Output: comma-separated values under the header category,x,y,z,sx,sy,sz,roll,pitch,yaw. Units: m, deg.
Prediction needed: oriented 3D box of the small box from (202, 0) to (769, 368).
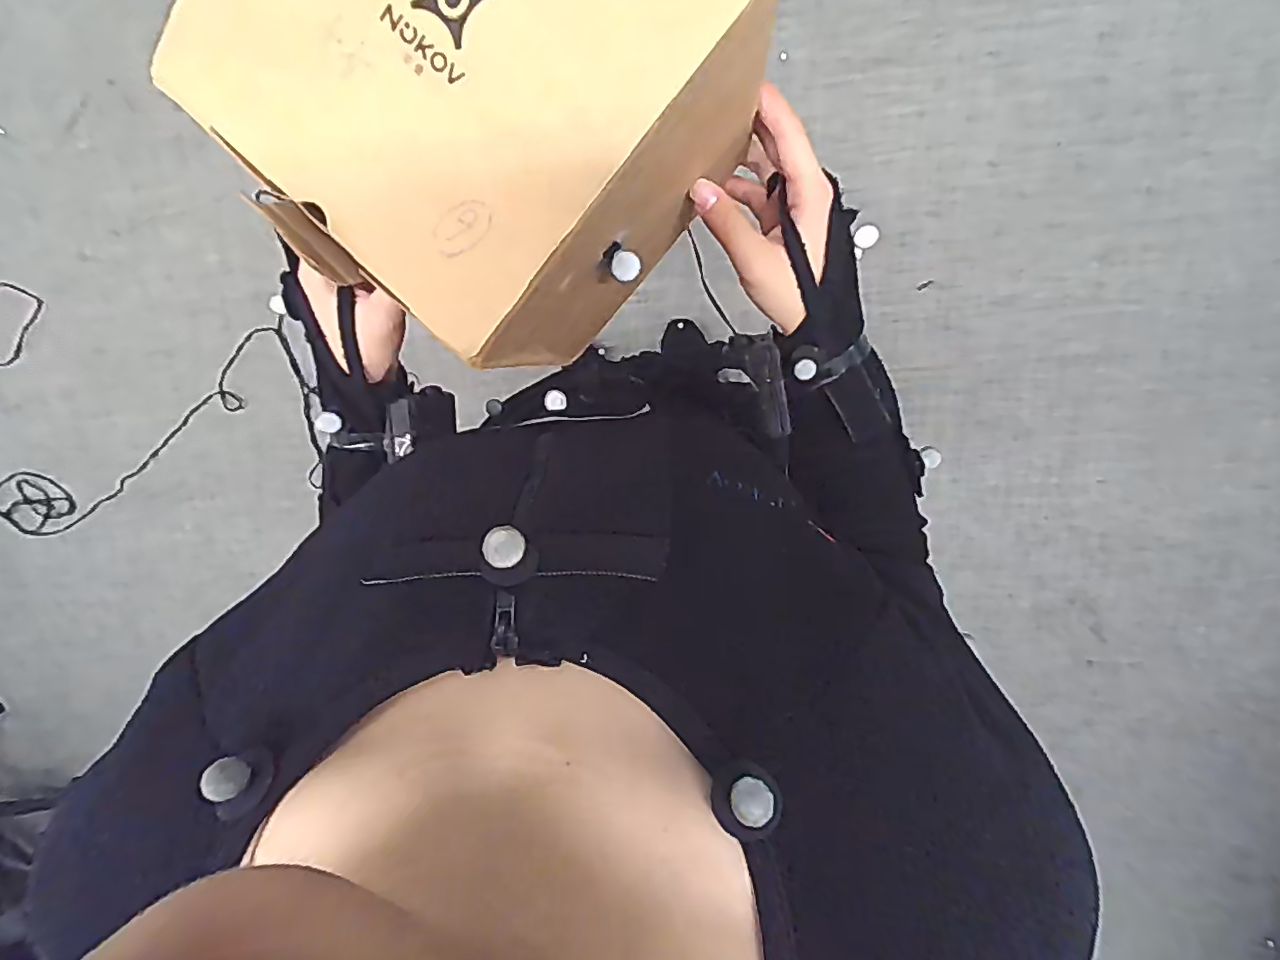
category,x,y,z,sx,sy,sz,roll,pitch,yaw
small box,-0.056,-0.177,0.283,0.168,0.176,0.179,42,104,-3
